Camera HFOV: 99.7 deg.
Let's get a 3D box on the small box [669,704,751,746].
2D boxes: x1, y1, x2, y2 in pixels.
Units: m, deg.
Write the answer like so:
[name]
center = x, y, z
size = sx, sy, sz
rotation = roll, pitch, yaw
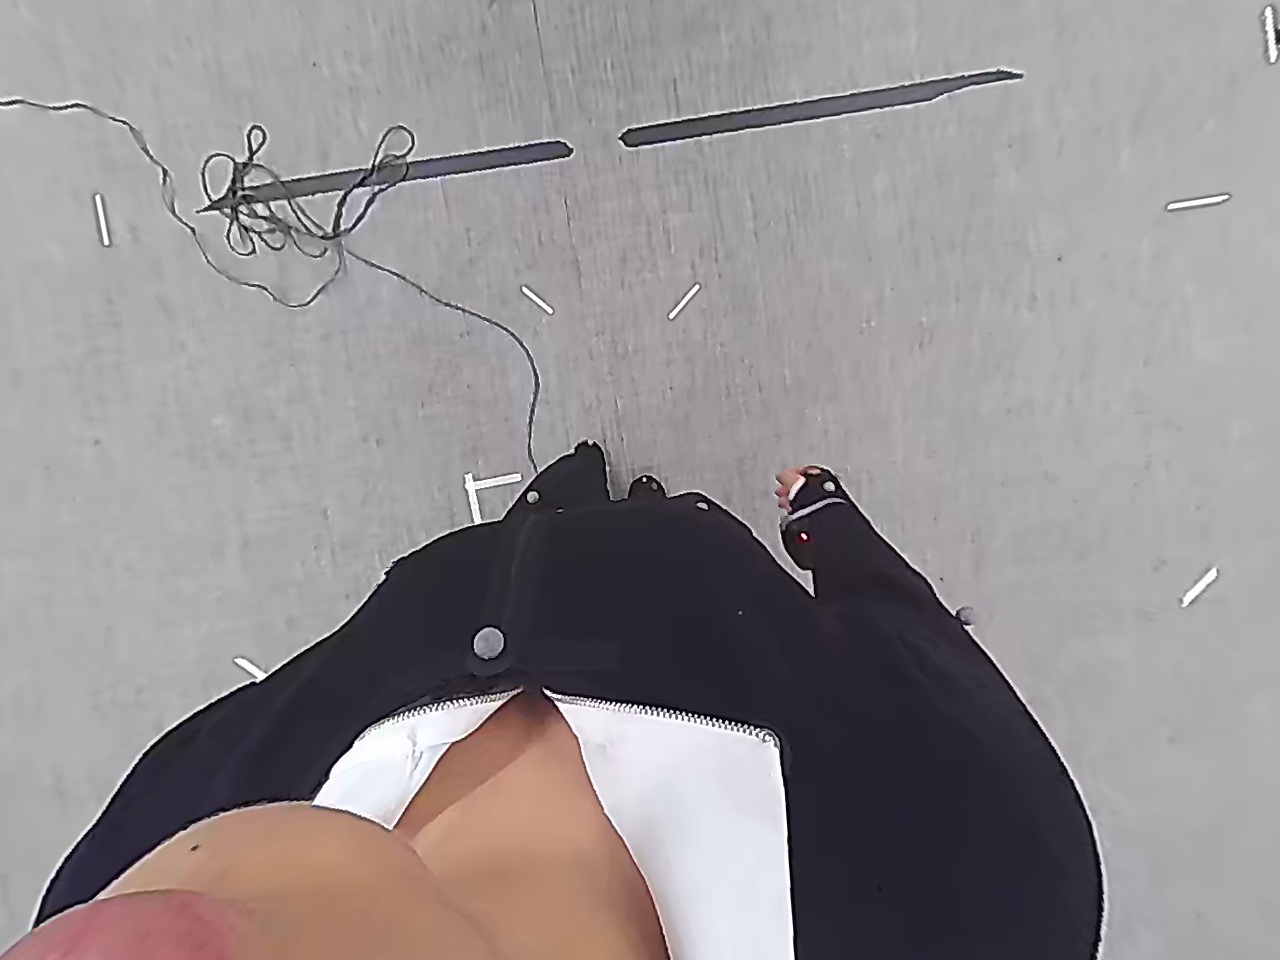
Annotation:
[small box]
center = 0.166, 0.605, 1.245
size = 0.179, 0.176, 0.168
rotation = -12, 92, 1
